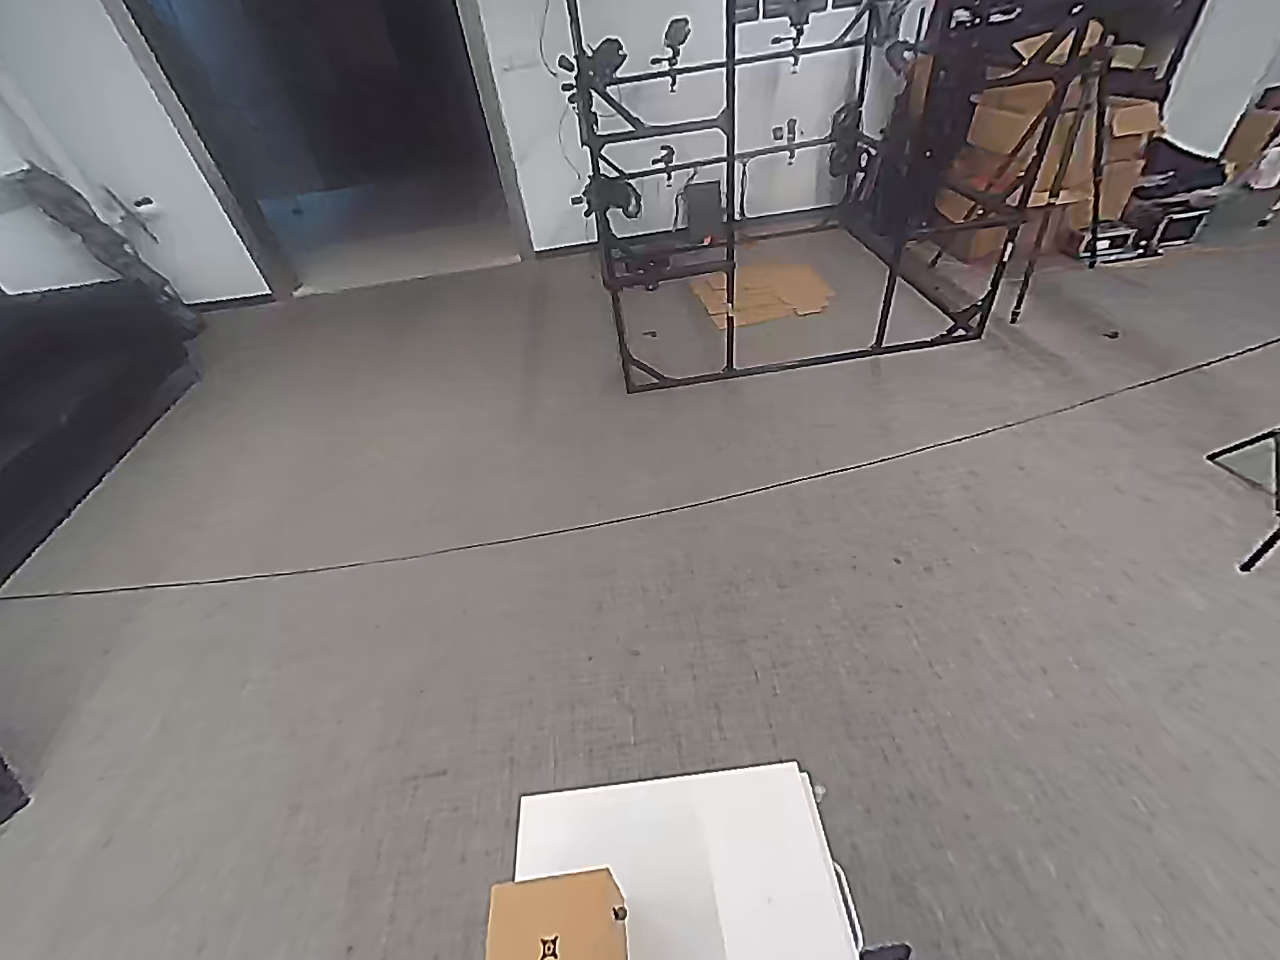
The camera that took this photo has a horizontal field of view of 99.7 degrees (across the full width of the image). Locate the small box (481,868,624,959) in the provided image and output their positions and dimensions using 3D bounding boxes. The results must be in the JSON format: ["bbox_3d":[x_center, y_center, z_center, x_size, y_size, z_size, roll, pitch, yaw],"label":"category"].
[{"bbox_3d":[-0.114,0.663,0.737,0.168,0.176,0.179,-8,42,1],"label":"small box"}]
